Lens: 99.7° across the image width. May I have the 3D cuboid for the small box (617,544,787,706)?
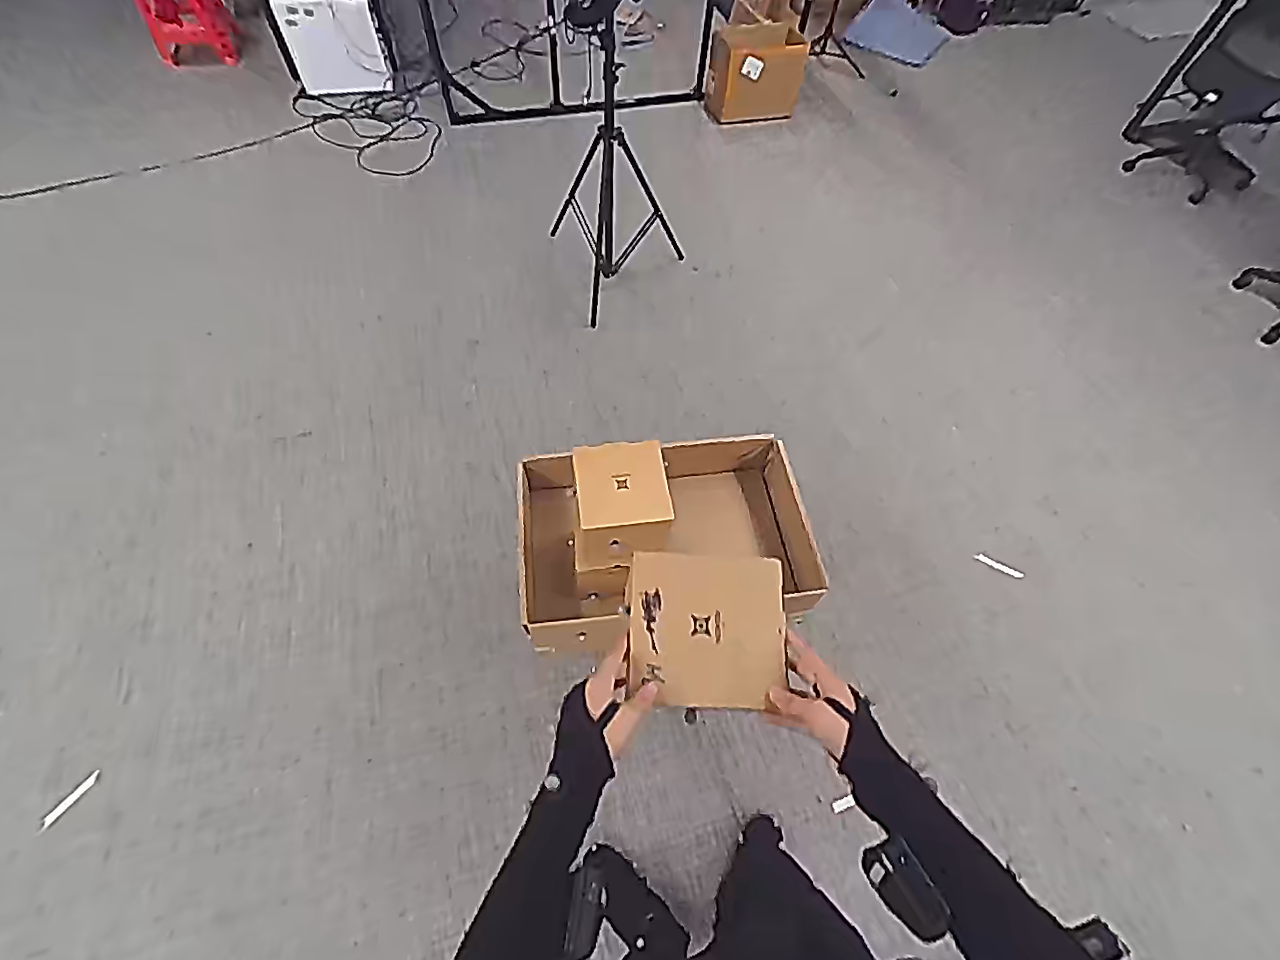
[{"bbox_3d":[0.068,0.186,0.670,0.179,0.176,0.168,4,67,-3],"label":"small box"}]

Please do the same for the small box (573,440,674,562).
[{"bbox_3d":[-0.035,0.048,1.039,0.168,0.176,0.179,-6,58,-8],"label":"small box"}]

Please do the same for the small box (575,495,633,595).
[{"bbox_3d":[-0.052,0.143,1.170,0.168,0.176,0.179,-3,58,-6],"label":"small box"}]
